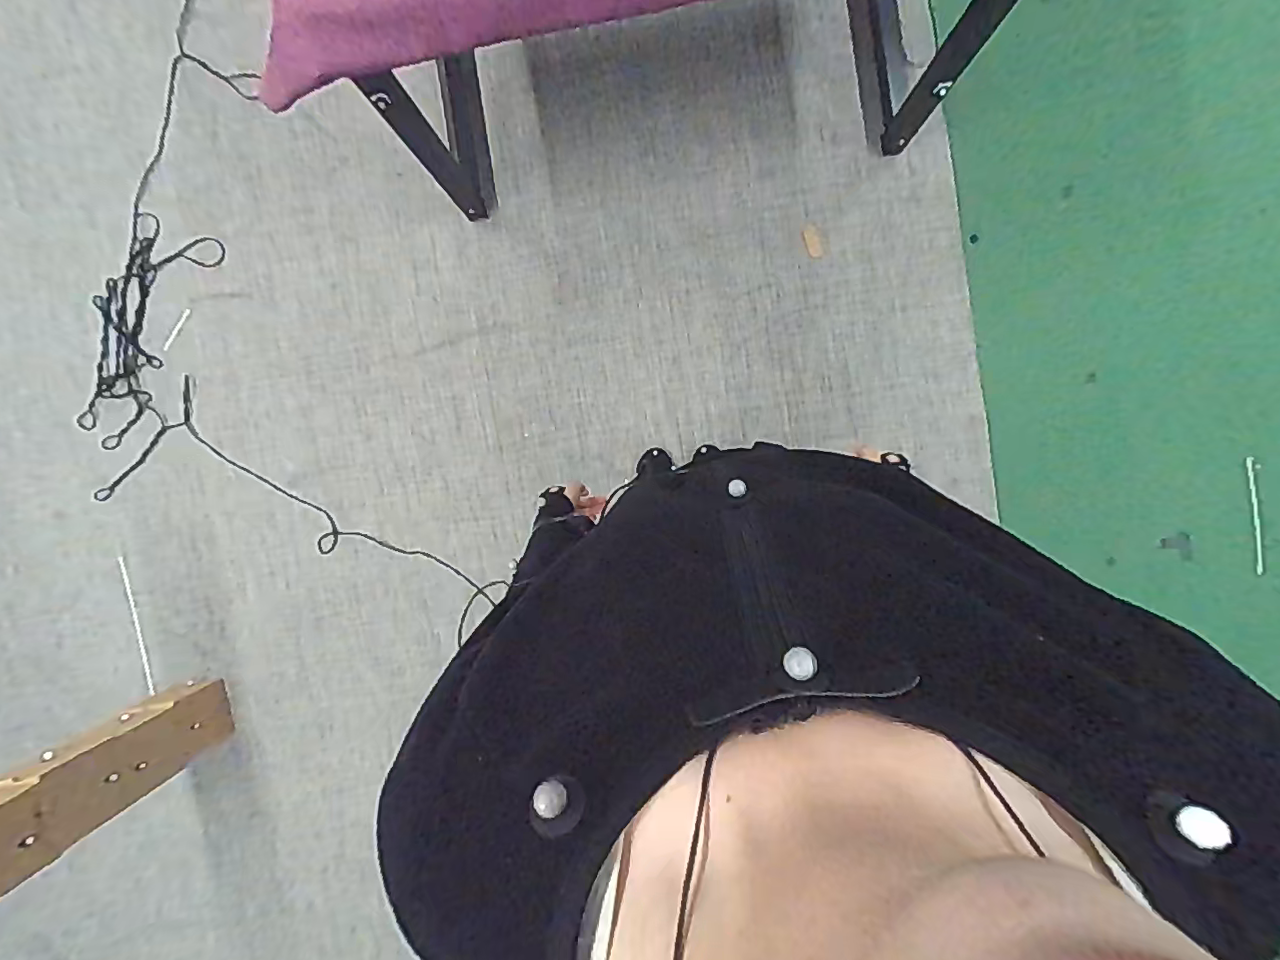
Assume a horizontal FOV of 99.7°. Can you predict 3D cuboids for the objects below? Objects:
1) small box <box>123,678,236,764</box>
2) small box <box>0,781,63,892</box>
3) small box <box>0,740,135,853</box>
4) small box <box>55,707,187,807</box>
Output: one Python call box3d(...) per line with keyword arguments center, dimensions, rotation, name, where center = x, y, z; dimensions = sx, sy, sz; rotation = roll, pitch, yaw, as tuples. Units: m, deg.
box3d(center=(-1.299, 0.690, 1.539), dimensions=(0.168, 0.176, 0.179), rotation=(-10, 92, 4), name="small box")
box3d(center=(-1.305, 0.722, 1.051), dimensions=(0.179, 0.176, 0.168), rotation=(-12, 93, 2), name="small box")
box3d(center=(-1.301, 0.709, 1.213), dimensions=(0.168, 0.176, 0.179), rotation=(-12, 92, 3), name="small box")
box3d(center=(-1.307, 0.708, 1.376), dimensions=(0.168, 0.176, 0.179), rotation=(-10, 92, 2), name="small box")
